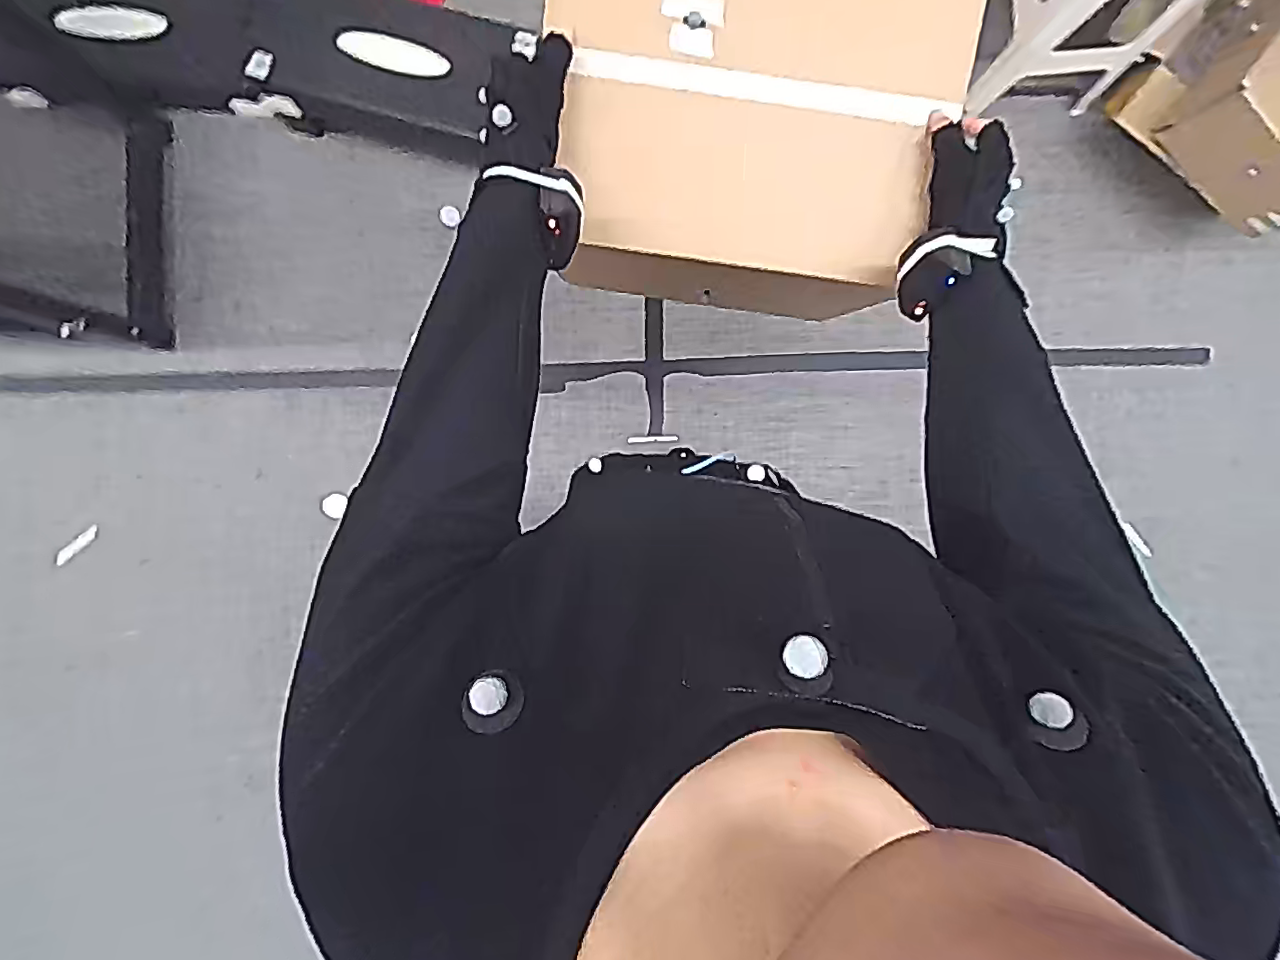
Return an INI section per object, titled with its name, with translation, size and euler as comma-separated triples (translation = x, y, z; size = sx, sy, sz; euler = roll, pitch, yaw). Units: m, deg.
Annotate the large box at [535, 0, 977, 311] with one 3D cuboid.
[large box]
translation = 0.110, -0.404, 0.672
size = 0.408, 0.320, 0.320
euler = 8, 100, -2
